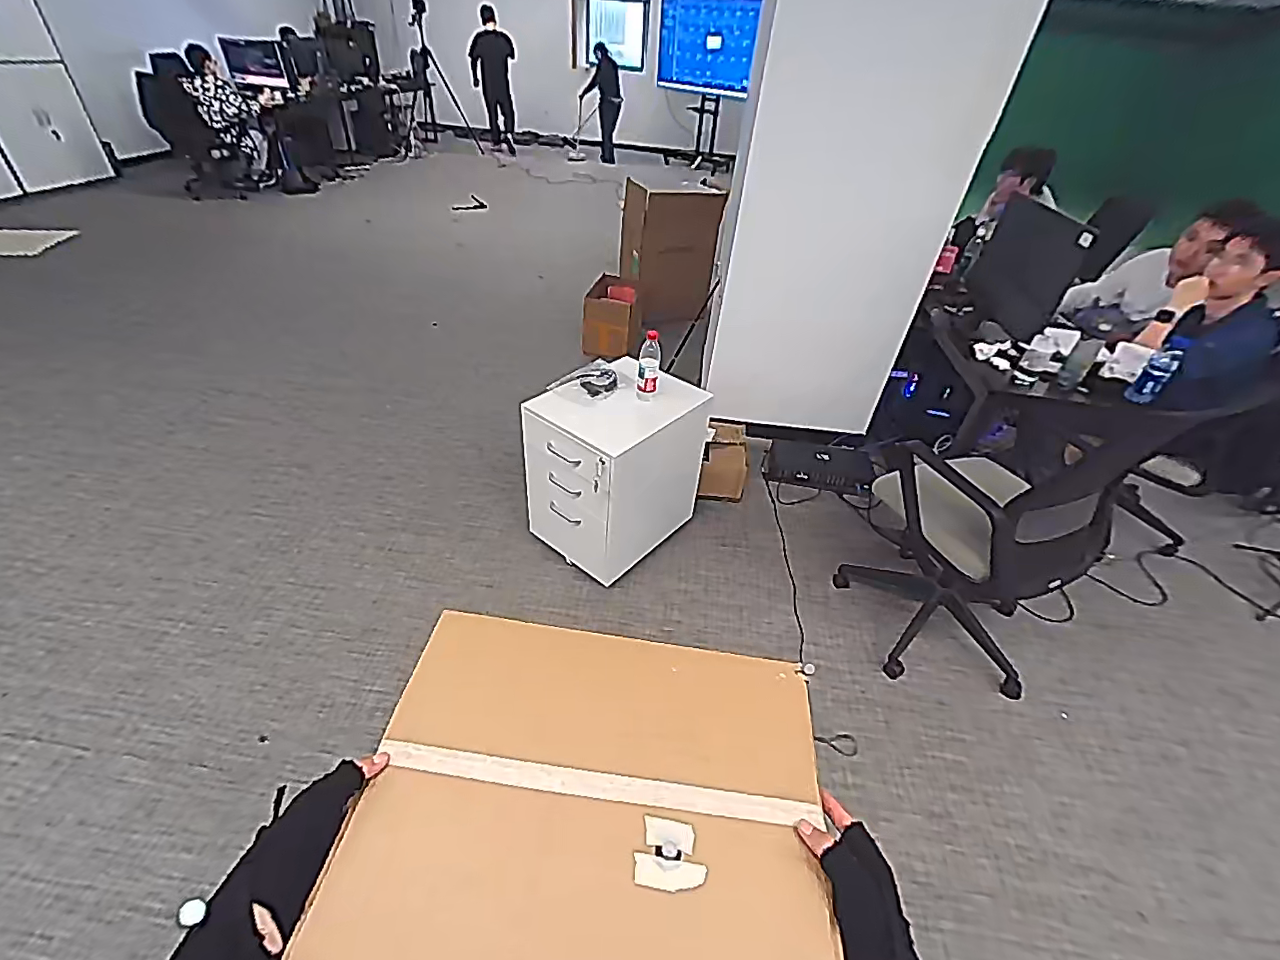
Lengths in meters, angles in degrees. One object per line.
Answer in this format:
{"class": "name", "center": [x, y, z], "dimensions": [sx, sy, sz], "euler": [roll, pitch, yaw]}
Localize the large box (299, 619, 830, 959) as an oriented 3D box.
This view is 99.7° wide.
{"class": "large box", "center": [-0.054, 0.394, 0.593], "dimensions": [0.408, 0.320, 0.320], "euler": [9, 41, 1]}
